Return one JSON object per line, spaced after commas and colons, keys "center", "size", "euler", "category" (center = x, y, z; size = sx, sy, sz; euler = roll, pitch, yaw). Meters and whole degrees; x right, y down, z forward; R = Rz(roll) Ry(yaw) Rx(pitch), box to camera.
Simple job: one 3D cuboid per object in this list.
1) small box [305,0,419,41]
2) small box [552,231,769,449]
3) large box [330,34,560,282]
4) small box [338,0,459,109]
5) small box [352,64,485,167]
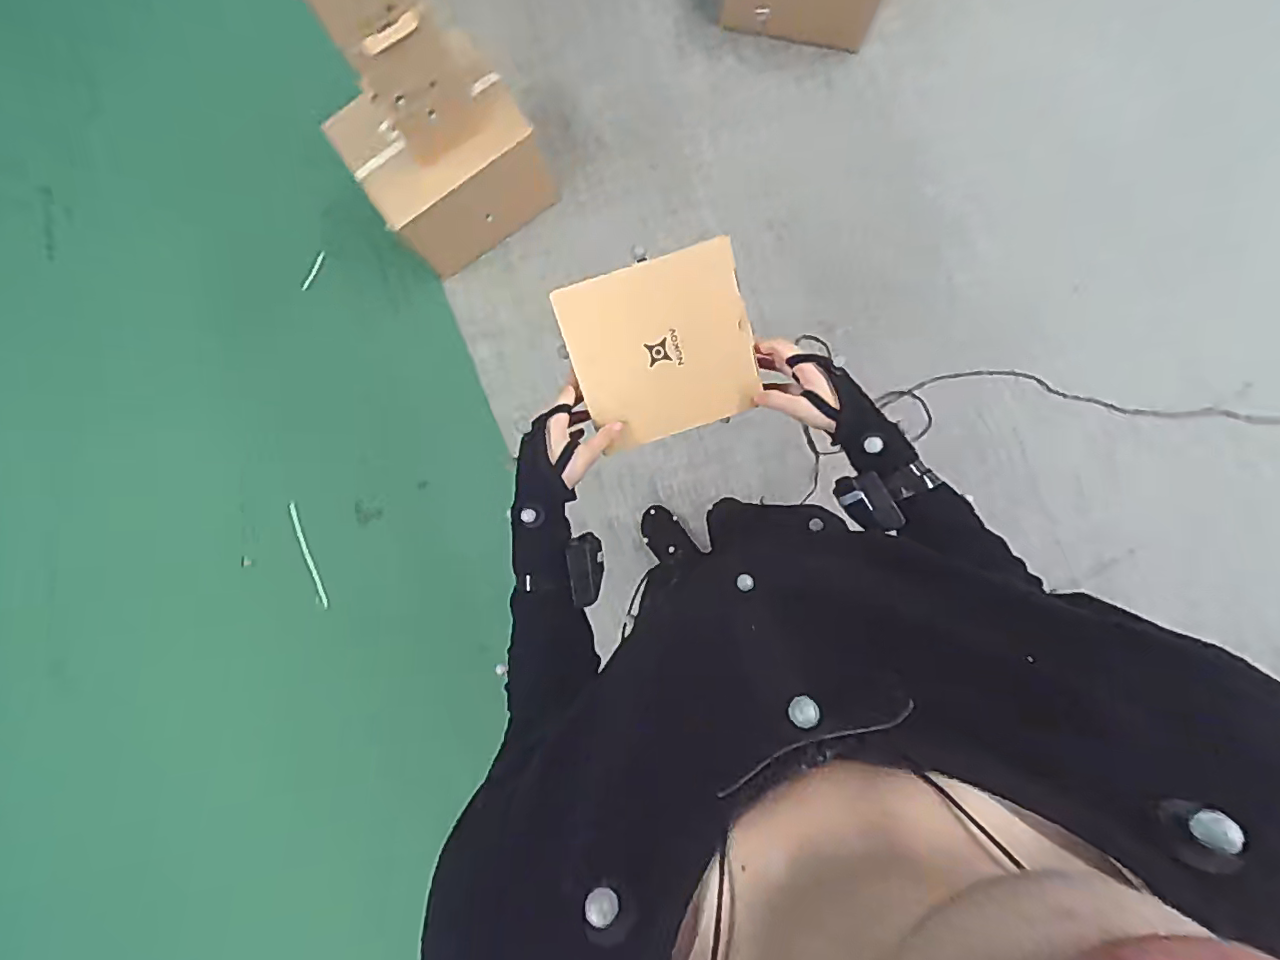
{"center": [-0.477, -0.836, 0.835], "size": [0.168, 0.176, 0.179], "euler": [-32, 90, 1], "category": "small box"}
{"center": [0.018, -0.151, 0.589], "size": [0.179, 0.176, 0.168], "euler": [-18, 108, 0], "category": "small box"}
{"center": [-0.477, -0.803, 1.408], "size": [0.408, 0.320, 0.320], "euler": [-36, 87, 3], "category": "large box"}
{"center": [-0.466, -0.834, 0.999], "size": [0.168, 0.176, 0.179], "euler": [-30, 89, 2], "category": "small box"}
{"center": [-0.466, -0.823, 1.163], "size": [0.179, 0.176, 0.168], "euler": [-32, 89, 1], "category": "small box"}
